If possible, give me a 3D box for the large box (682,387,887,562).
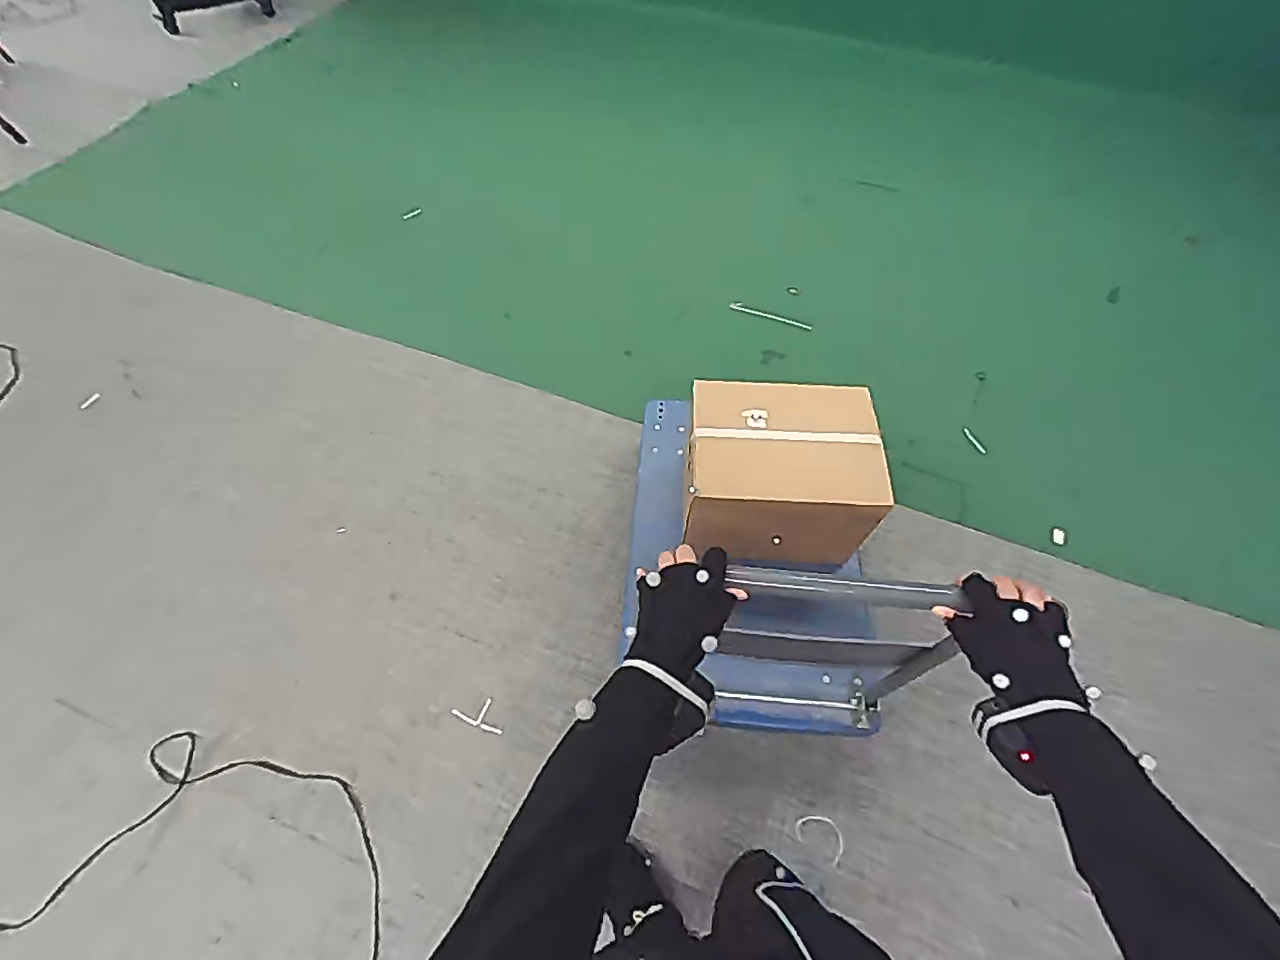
[{"bbox_3d":[0.314,-0.005,1.305,0.408,0.320,0.320,2,58,2],"label":"large box"}]
